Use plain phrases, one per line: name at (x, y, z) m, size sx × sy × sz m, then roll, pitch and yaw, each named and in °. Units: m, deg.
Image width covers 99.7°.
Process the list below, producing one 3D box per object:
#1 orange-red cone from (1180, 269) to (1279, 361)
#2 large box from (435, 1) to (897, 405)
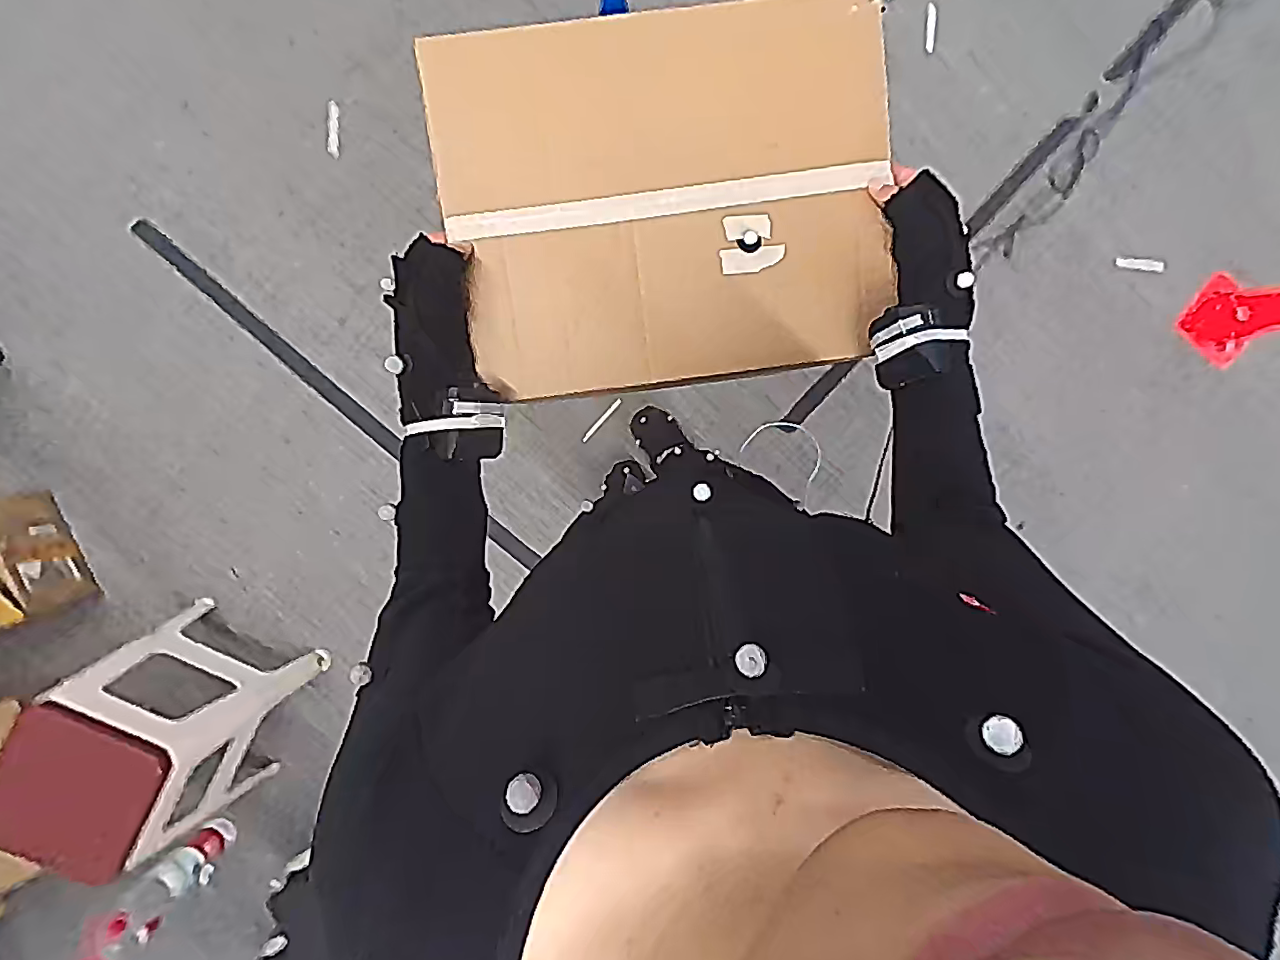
orange-red cone at (1.627, -0.448, 1.331) m, size 0.198 × 0.360 × 0.199 m, roll 39°, pitch 90°, yaw -5°
large box at (0.027, -0.269, 0.643) m, size 0.408 × 0.320 × 0.320 m, roll -7°, pitch 98°, yaw -1°
